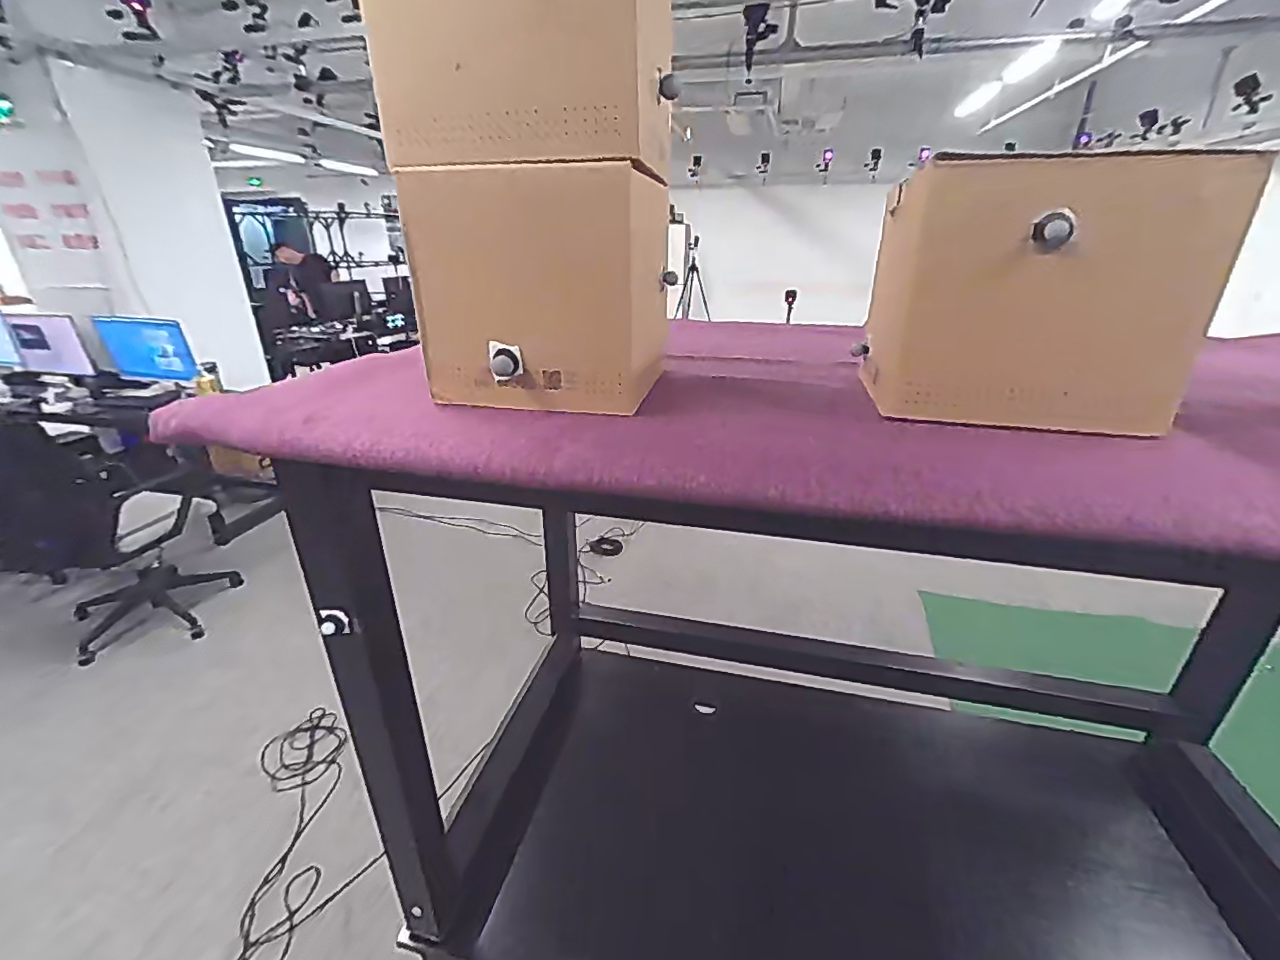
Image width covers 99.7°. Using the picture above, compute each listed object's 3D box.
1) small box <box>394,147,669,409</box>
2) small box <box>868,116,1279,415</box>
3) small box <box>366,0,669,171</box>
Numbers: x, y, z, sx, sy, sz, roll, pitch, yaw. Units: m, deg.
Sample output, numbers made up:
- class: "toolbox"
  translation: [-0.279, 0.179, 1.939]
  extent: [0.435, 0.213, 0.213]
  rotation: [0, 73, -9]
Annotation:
- class: "small box"
  translation: [-0.069, -0.166, 0.450]
  extent: [0.168, 0.176, 0.179]
  rotation: [3, 25, 10]
- class: "small box"
  translation: [0.278, -0.150, 0.405]
  extent: [0.179, 0.176, 0.168]
  rotation: [6, 23, 13]
- class: "small box"
  translation: [-0.076, -0.318, 0.387]
  extent: [0.179, 0.176, 0.168]
  rotation: [3, 24, 9]
